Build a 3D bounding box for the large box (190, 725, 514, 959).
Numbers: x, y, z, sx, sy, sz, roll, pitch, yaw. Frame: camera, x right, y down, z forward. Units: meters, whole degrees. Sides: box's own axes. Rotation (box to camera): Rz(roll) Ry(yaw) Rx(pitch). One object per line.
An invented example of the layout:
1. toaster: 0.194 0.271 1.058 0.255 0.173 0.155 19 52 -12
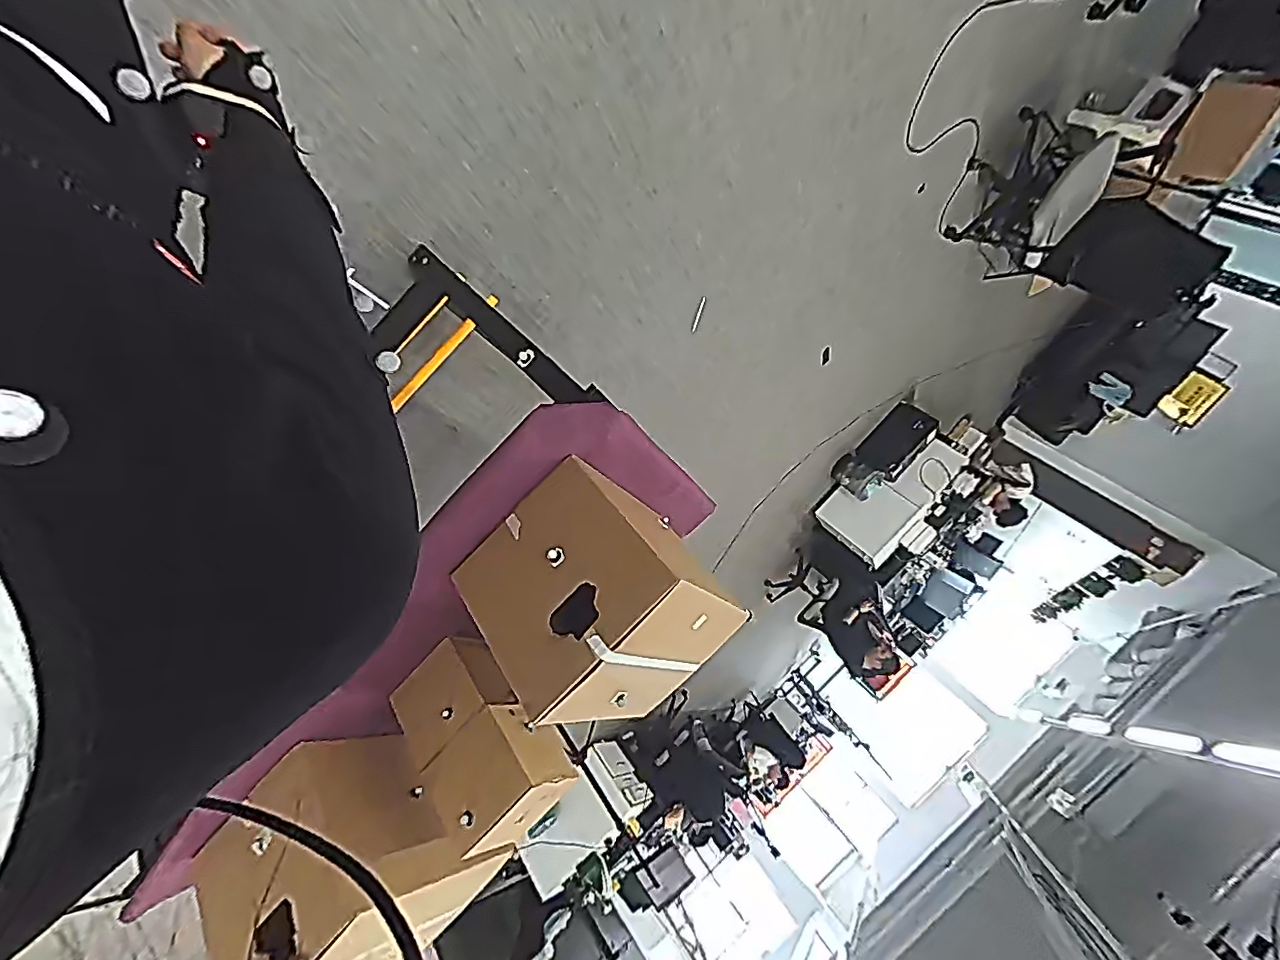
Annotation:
1. large box: -0.538 0.721 1.052 0.320 0.320 0.408 -47 150 3
